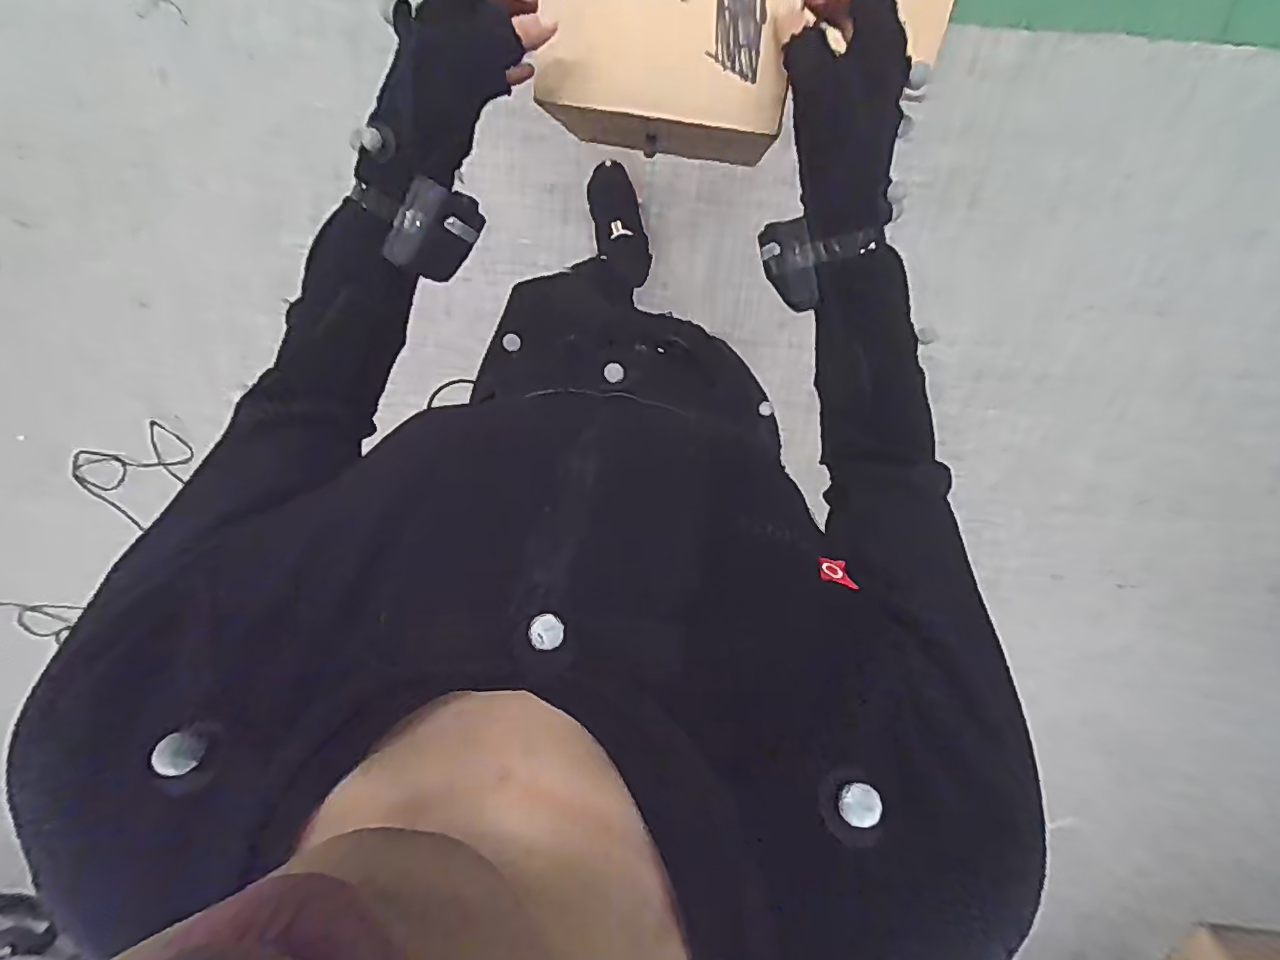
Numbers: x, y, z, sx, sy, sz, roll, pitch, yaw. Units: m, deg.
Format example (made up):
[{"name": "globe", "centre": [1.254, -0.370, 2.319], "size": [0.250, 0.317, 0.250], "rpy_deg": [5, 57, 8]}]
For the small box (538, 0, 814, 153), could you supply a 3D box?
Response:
[{"name": "small box", "centre": [0.035, -0.362, 0.410], "size": [0.179, 0.176, 0.168], "rpy_deg": [10, 114, 3]}]
